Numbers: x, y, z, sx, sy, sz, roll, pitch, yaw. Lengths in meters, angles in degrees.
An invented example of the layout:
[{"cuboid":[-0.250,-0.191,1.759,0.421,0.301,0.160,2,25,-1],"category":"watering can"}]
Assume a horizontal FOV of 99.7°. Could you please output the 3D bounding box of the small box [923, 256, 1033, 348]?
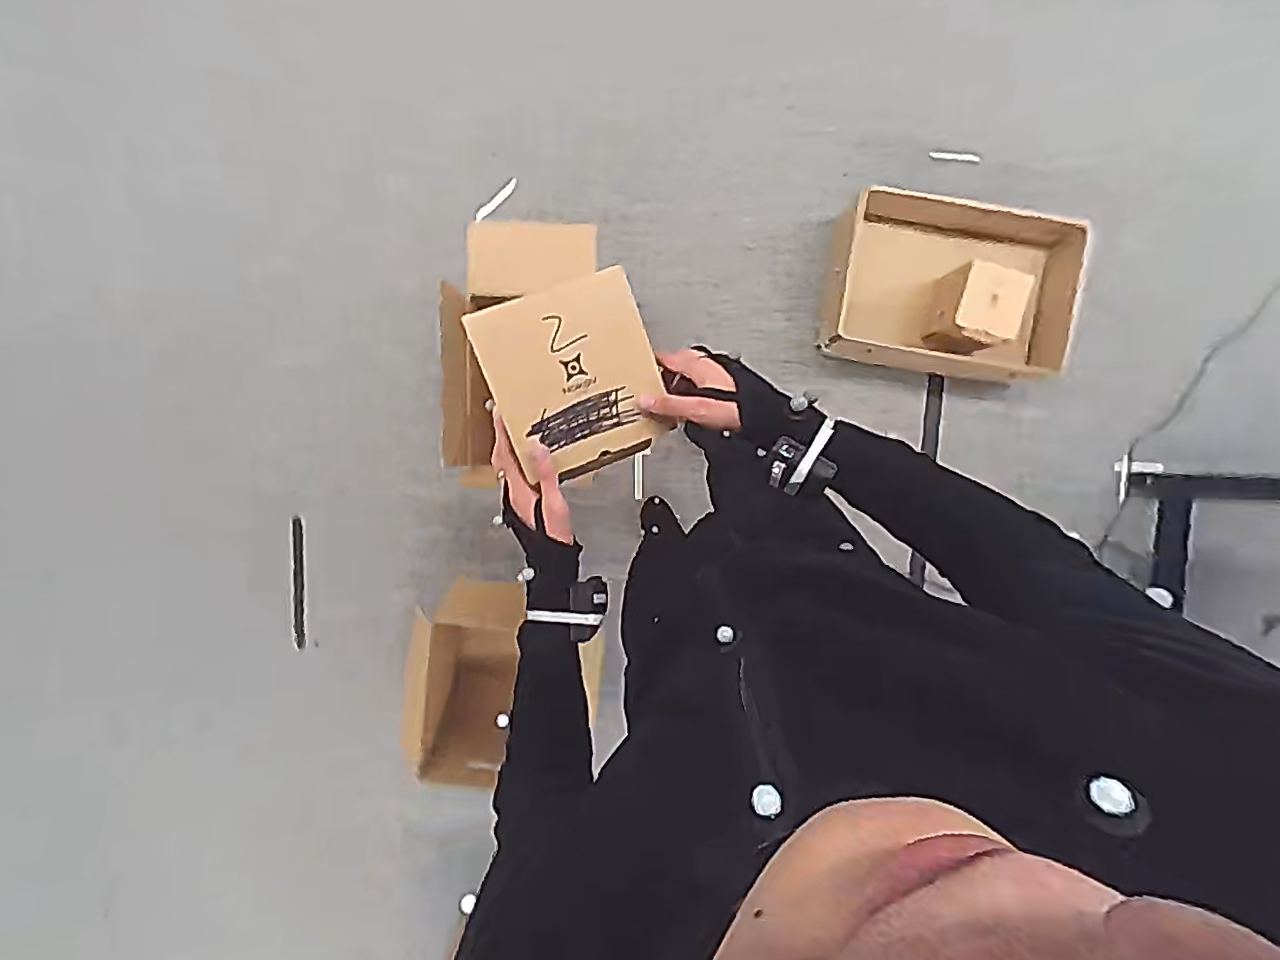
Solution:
[{"cuboid":[0.894,-0.467,1.449,0.168,0.176,0.179,16,93,-2],"category":"small box"}]
